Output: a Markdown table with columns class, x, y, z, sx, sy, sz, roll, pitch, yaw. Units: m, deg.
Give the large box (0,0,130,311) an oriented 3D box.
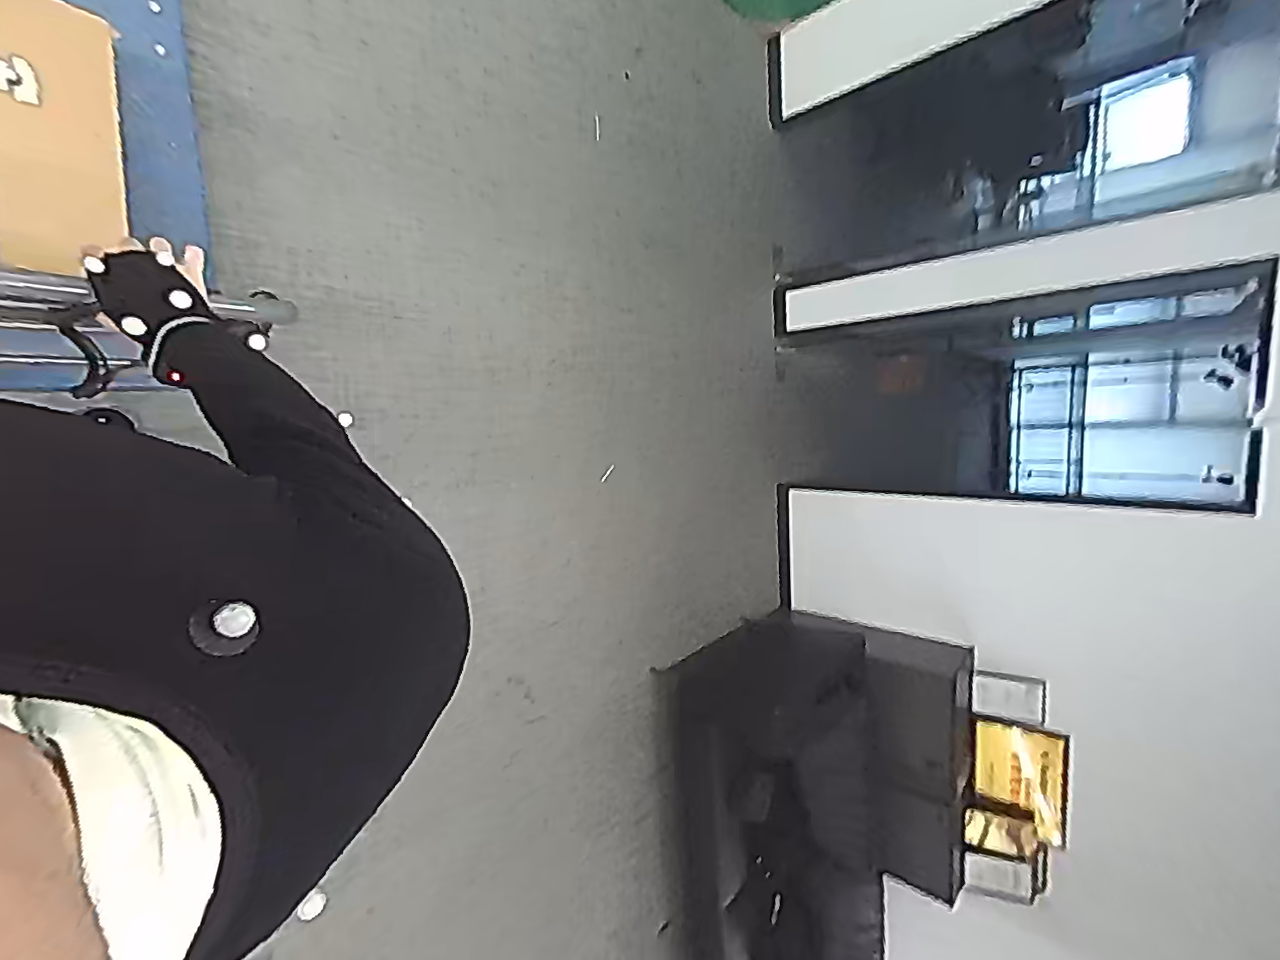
| class | x | y | z | sx | sy | sz | roll | pitch | yaw |
| --- | --- | --- | --- | --- | --- | --- | --- | --- | --- |
| large box | -1.043 | -0.509 | 0.845 | 0.320 | 0.320 | 0.408 | -6 | 97 | -48 |
